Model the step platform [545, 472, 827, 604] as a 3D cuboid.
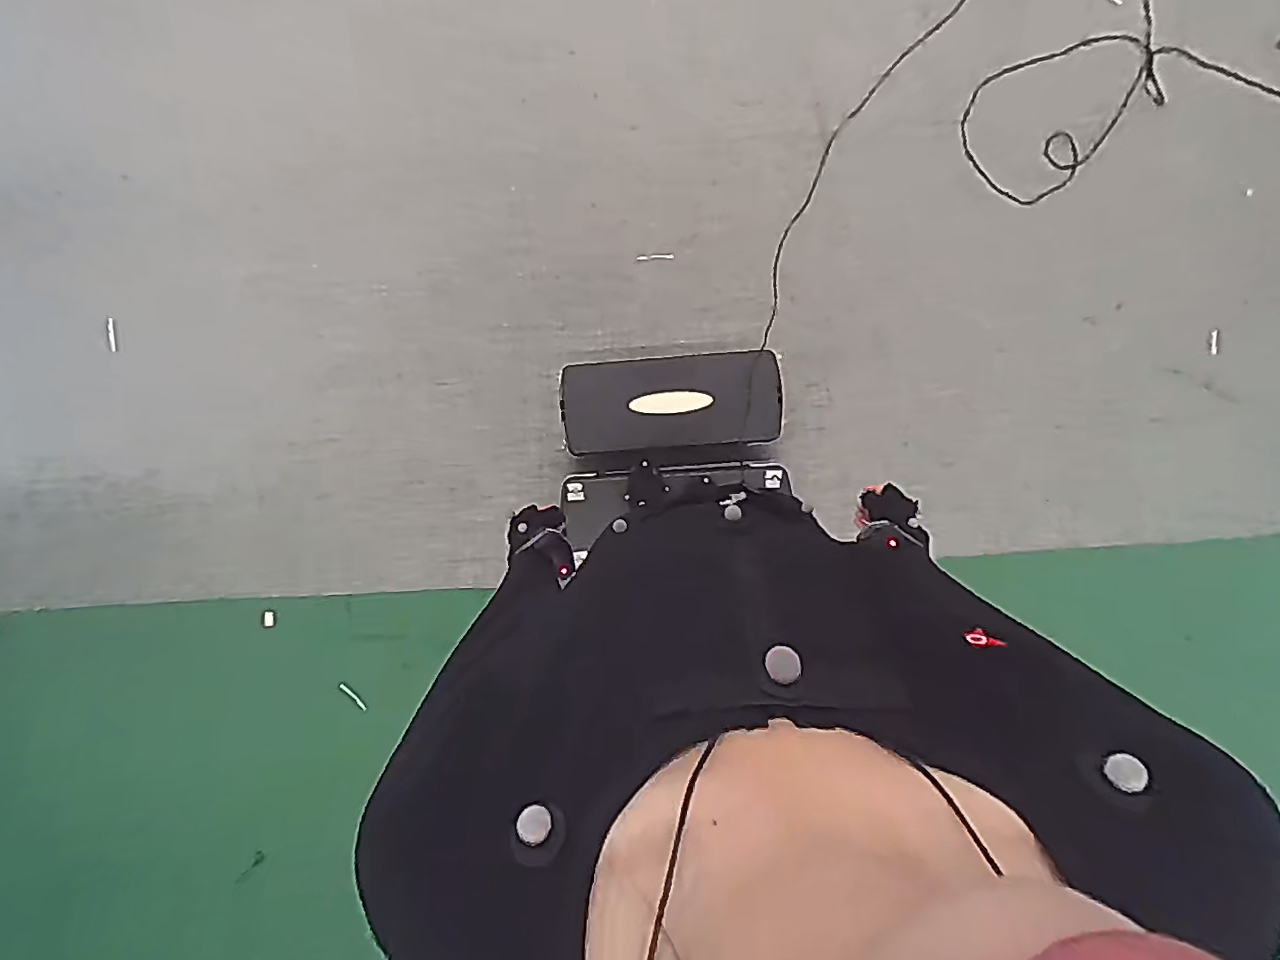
[{"bbox_3d":[0.110,0.140,1.398,0.684,0.204,0.286,-4,92,0],"label":"step platform"}]
